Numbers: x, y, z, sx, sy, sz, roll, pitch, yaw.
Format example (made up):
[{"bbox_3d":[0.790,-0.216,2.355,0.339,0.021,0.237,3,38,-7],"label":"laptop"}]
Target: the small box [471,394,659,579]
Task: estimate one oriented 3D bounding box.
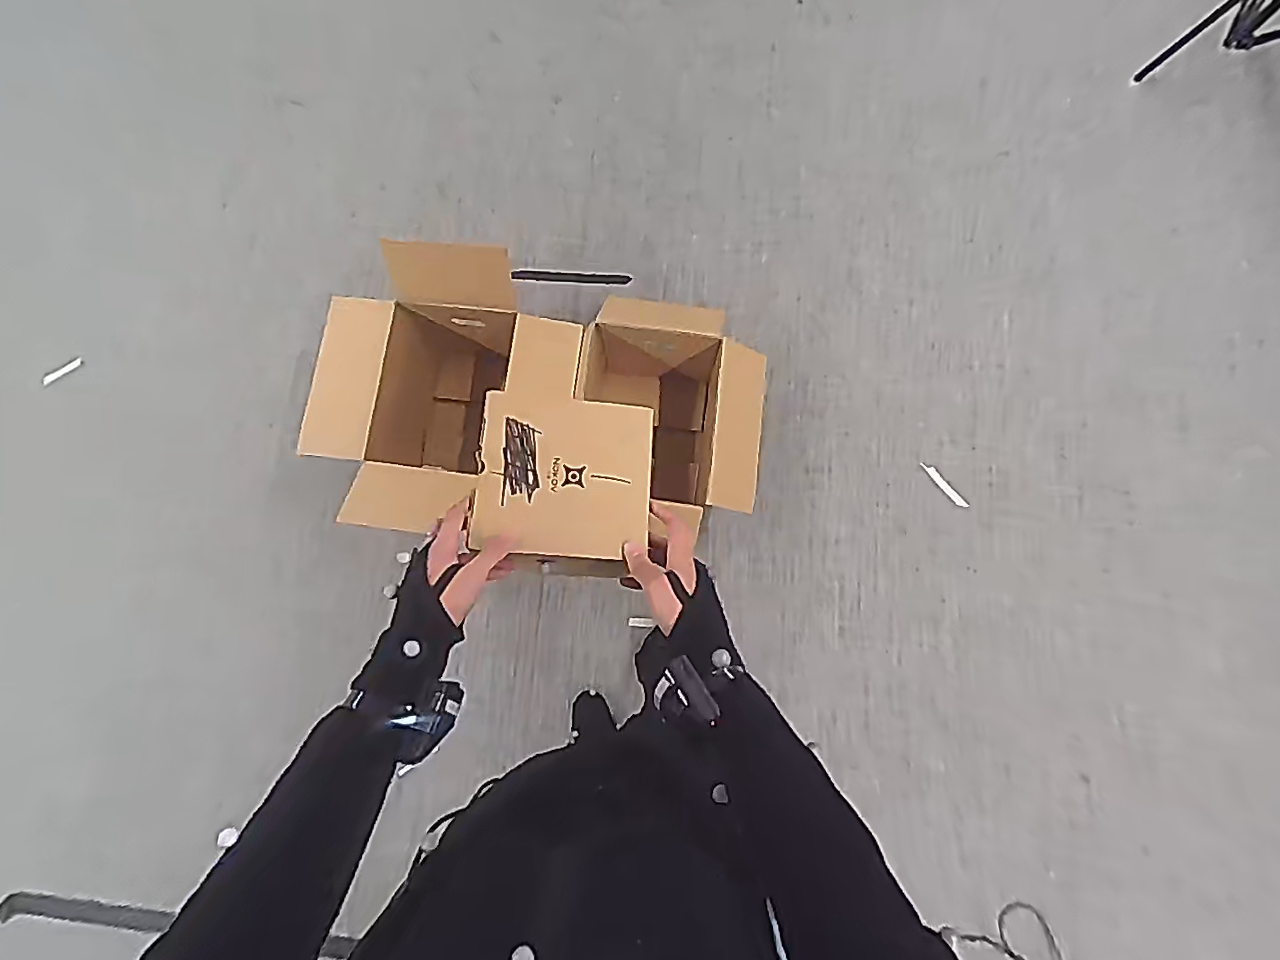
[{"bbox_3d":[-0.082,0.020,0.617,0.179,0.176,0.168,6,73,-9],"label":"small box"}]
